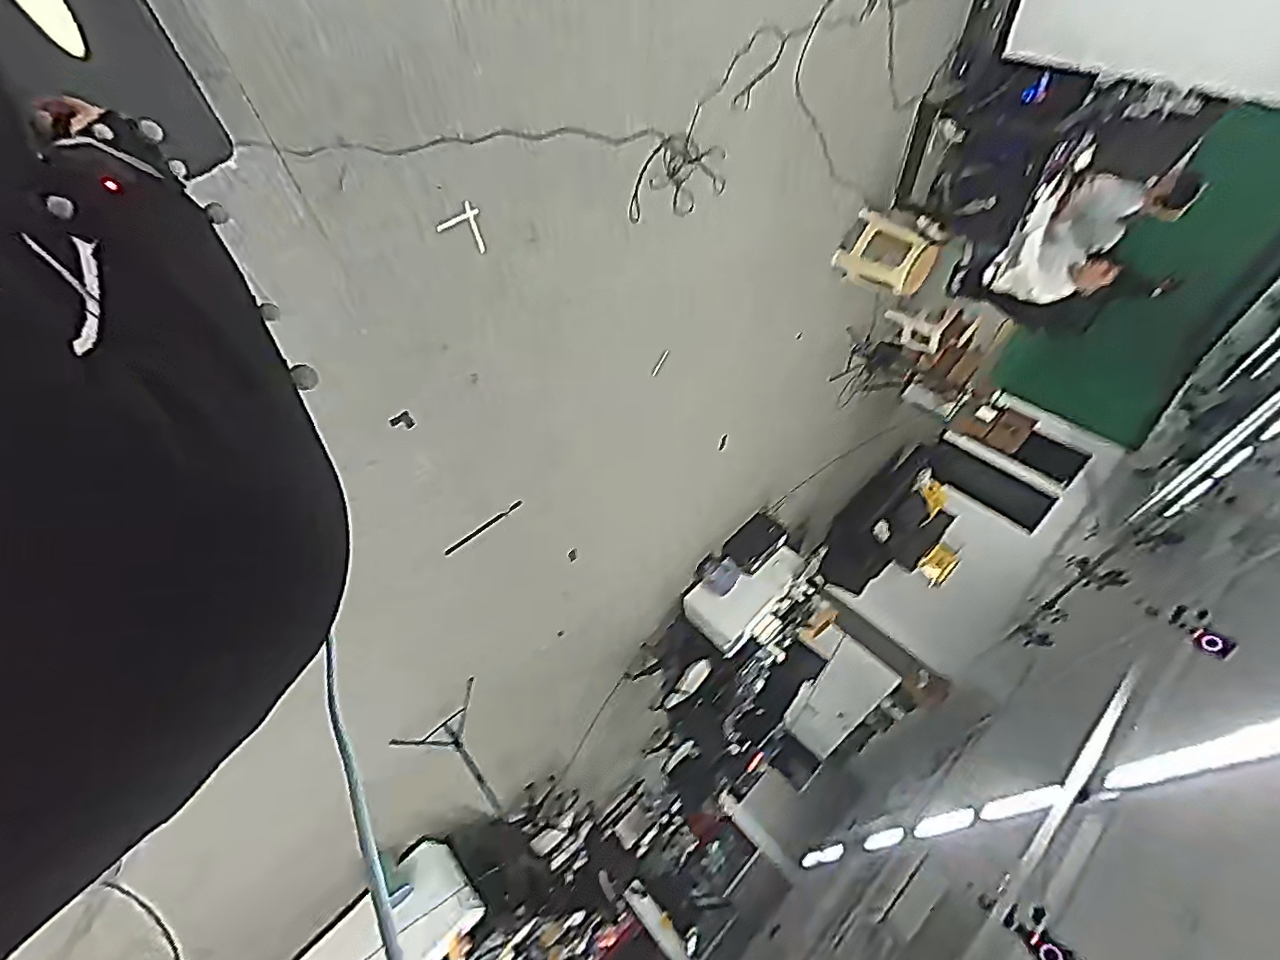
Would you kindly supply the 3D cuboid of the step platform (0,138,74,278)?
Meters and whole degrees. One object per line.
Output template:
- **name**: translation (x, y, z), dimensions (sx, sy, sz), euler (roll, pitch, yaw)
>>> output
- **step platform**: translation (-1.142, -0.594, 0.690), dimensions (0.286, 0.204, 0.684), euler (-37, 145, -26)
